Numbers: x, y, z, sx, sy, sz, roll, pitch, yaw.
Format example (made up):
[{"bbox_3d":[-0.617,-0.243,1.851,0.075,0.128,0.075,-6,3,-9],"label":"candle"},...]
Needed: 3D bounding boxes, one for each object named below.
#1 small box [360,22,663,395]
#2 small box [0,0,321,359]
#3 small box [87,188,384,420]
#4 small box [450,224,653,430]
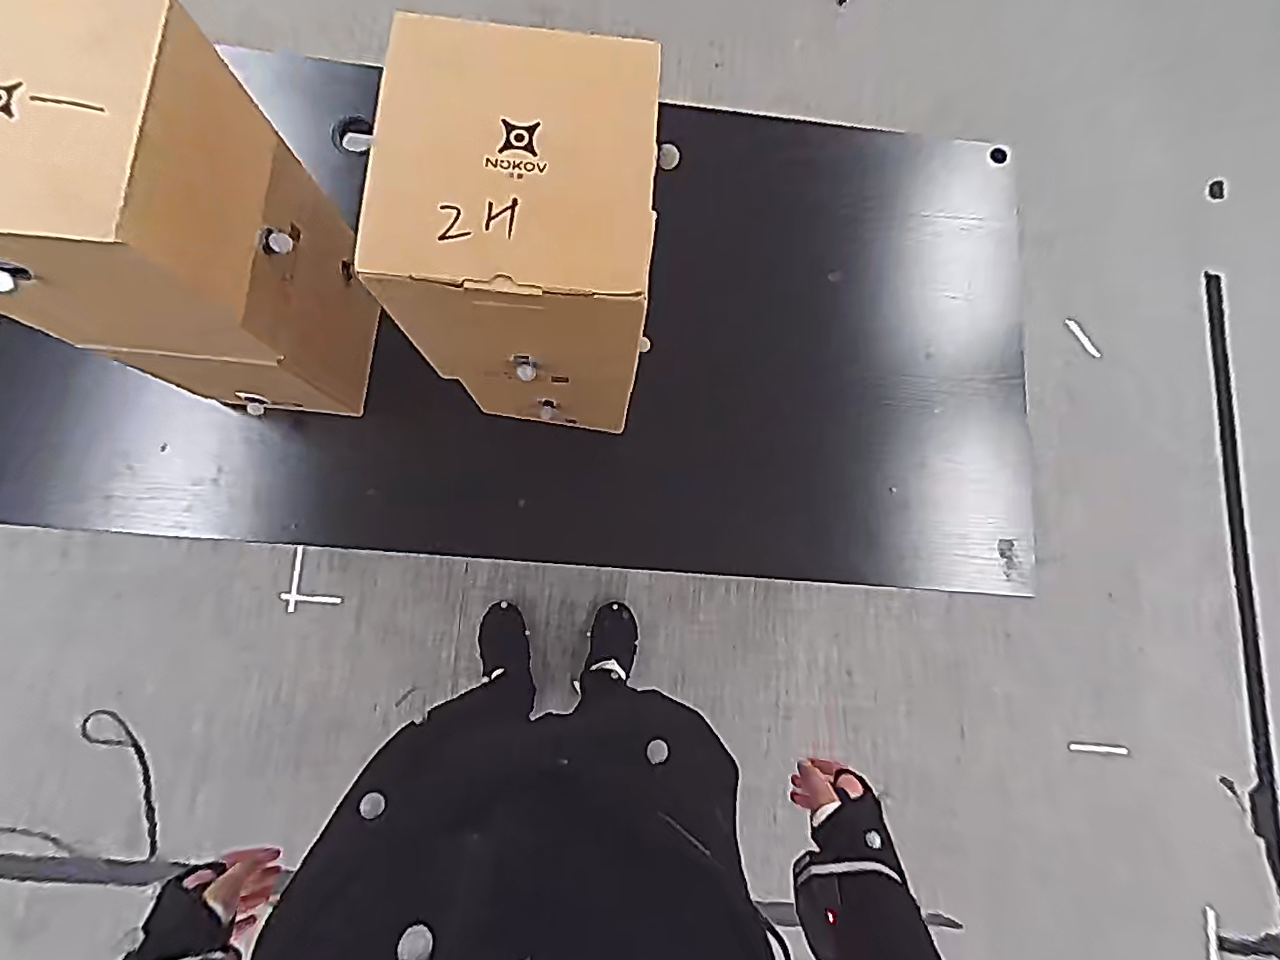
[{"bbox_3d":[-0.078,-0.179,0.403,0.168,0.176,0.179,4,80,-3],"label":"small box"},{"bbox_3d":[-0.369,-0.197,0.386,0.179,0.176,0.168,4,80,-4],"label":"small box"},{"bbox_3d":[-0.381,-0.172,0.548,0.168,0.176,0.179,4,81,-3],"label":"small box"},{"bbox_3d":[-0.083,-0.160,0.568,0.168,0.176,0.179,8,81,-3],"label":"small box"}]
